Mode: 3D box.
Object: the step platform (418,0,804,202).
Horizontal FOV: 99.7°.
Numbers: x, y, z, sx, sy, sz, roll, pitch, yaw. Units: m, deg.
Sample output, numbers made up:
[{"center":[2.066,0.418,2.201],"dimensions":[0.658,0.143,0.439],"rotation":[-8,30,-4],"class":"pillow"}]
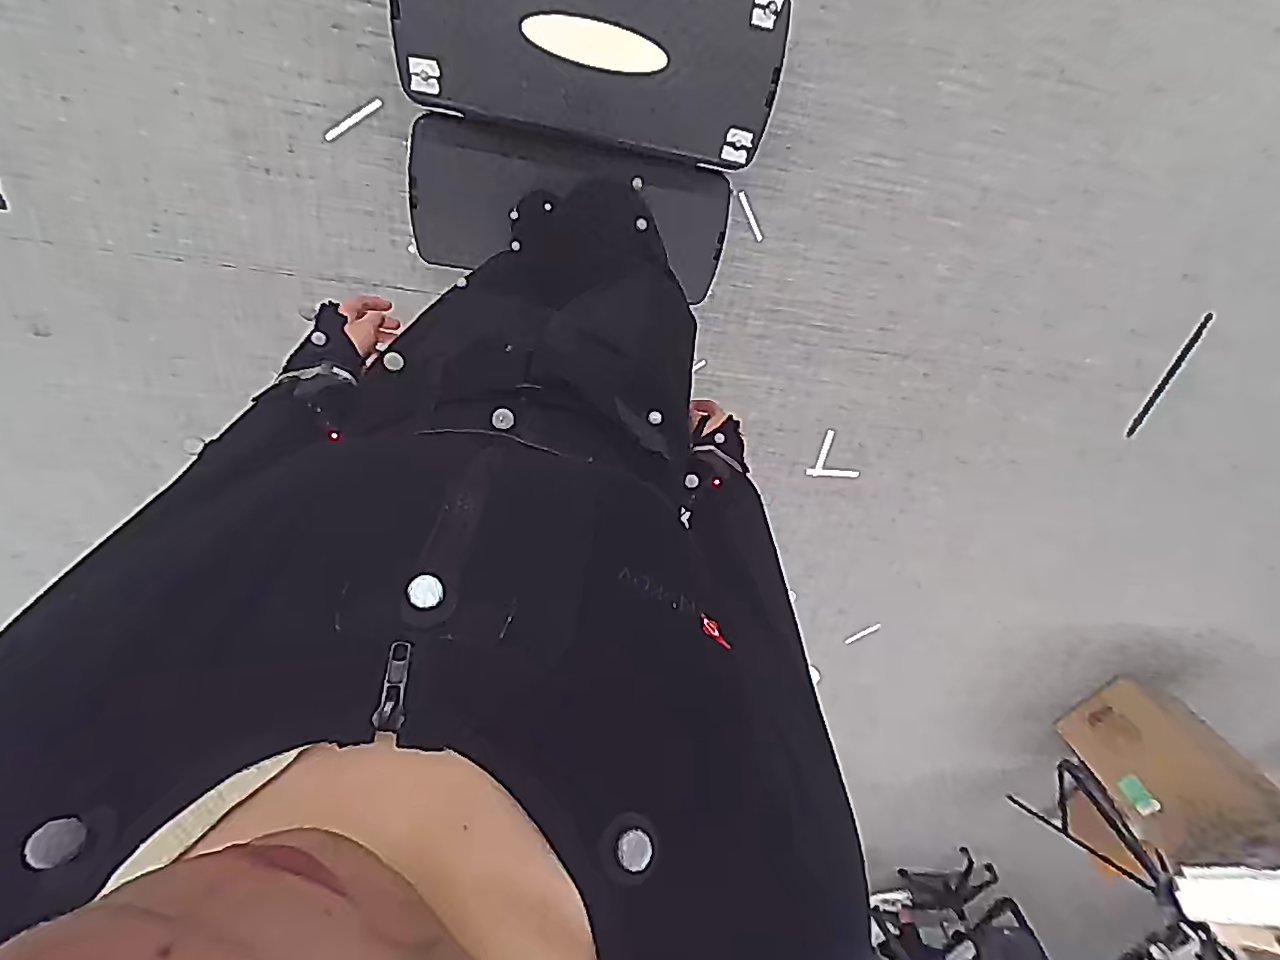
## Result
[{"center":[-0.050,-0.762,1.019],"dimensions":[0.684,0.204,0.286],"rotation":[9,119,-13],"class":"step platform"}]
